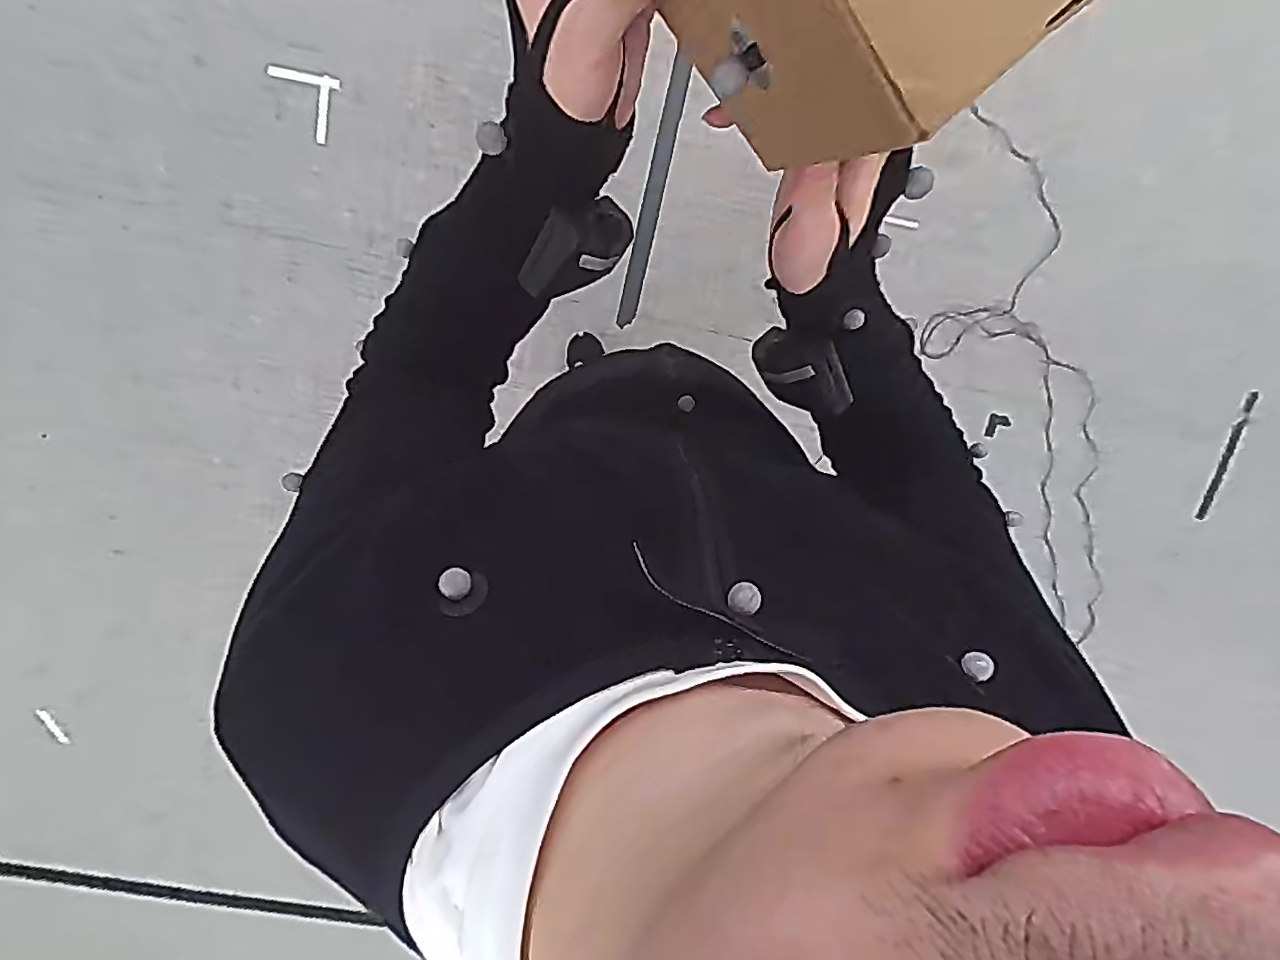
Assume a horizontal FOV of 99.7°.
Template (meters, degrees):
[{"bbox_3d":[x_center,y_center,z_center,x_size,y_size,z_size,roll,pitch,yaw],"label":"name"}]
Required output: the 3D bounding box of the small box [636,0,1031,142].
[{"bbox_3d":[0.064,-0.233,0.158,0.168,0.176,0.179,-40,110,17],"label":"small box"}]
